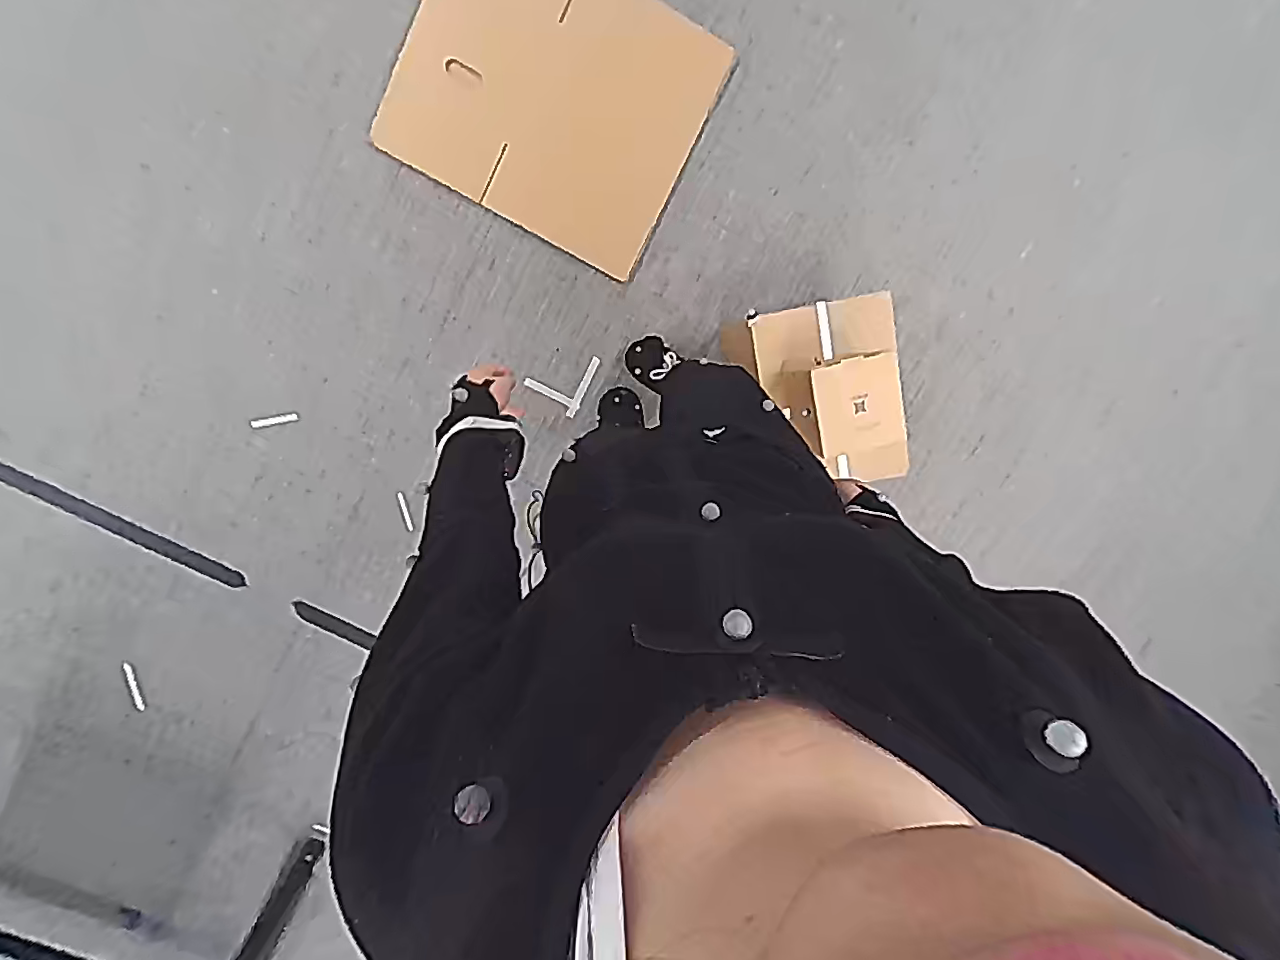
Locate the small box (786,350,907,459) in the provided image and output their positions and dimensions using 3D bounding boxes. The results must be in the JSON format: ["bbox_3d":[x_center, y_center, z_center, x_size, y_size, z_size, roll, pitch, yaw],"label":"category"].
[{"bbox_3d":[0.408,-0.155,1.091,0.168,0.176,0.179,-13,102,0],"label":"small box"}]
